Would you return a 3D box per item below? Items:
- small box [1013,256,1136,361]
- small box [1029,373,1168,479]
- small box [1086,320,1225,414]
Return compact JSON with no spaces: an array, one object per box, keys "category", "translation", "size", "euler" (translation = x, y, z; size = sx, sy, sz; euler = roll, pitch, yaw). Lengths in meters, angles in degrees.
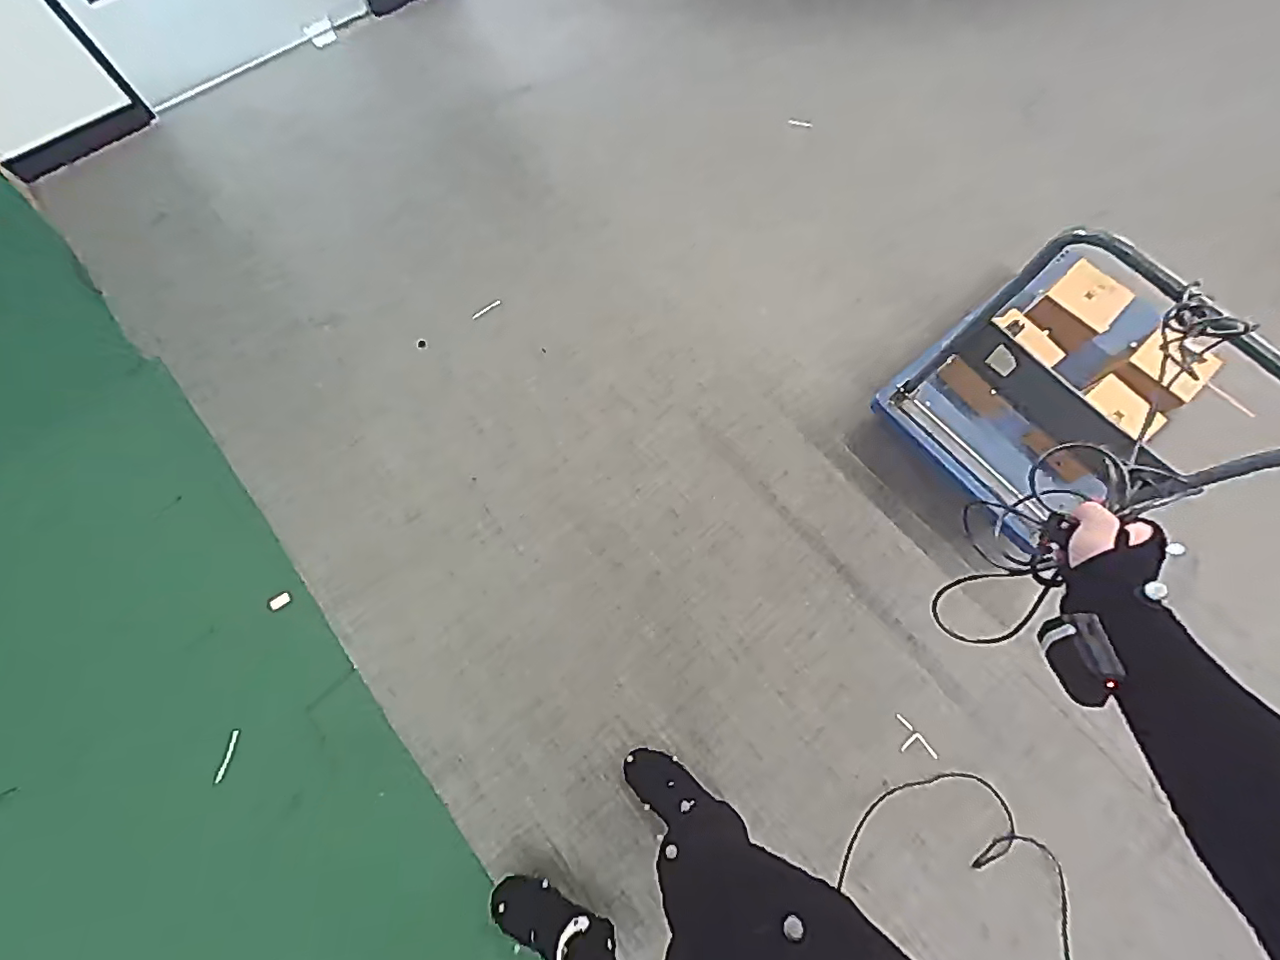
[{"category":"small box","translation":[1.174,-0.461,1.480],"size":[0.179,0.176,0.168],"euler":[-41,77,-13]},{"category":"small box","translation":[1.146,-0.131,1.368],"size":[0.179,0.176,0.168],"euler":[-36,76,-11]},{"category":"small box","translation":[1.338,-0.274,1.419],"size":[0.179,0.176,0.168],"euler":[-40,75,-12]}]
